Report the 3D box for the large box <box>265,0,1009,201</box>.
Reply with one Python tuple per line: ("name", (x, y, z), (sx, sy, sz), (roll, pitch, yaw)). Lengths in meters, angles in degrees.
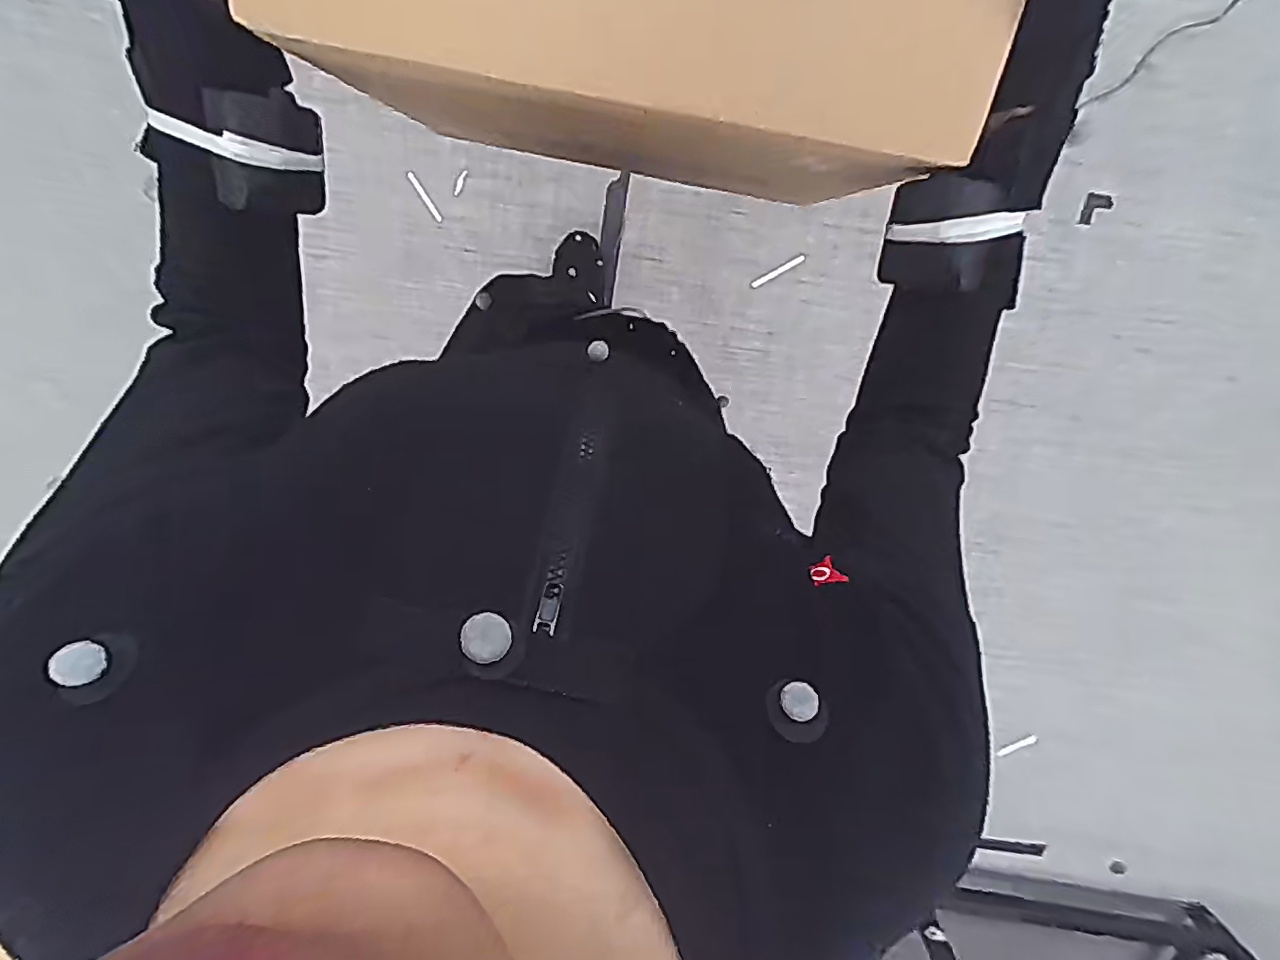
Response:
("large box", (0.012, -0.410, 0.386), (0.408, 0.320, 0.320), (8, 114, -4))
